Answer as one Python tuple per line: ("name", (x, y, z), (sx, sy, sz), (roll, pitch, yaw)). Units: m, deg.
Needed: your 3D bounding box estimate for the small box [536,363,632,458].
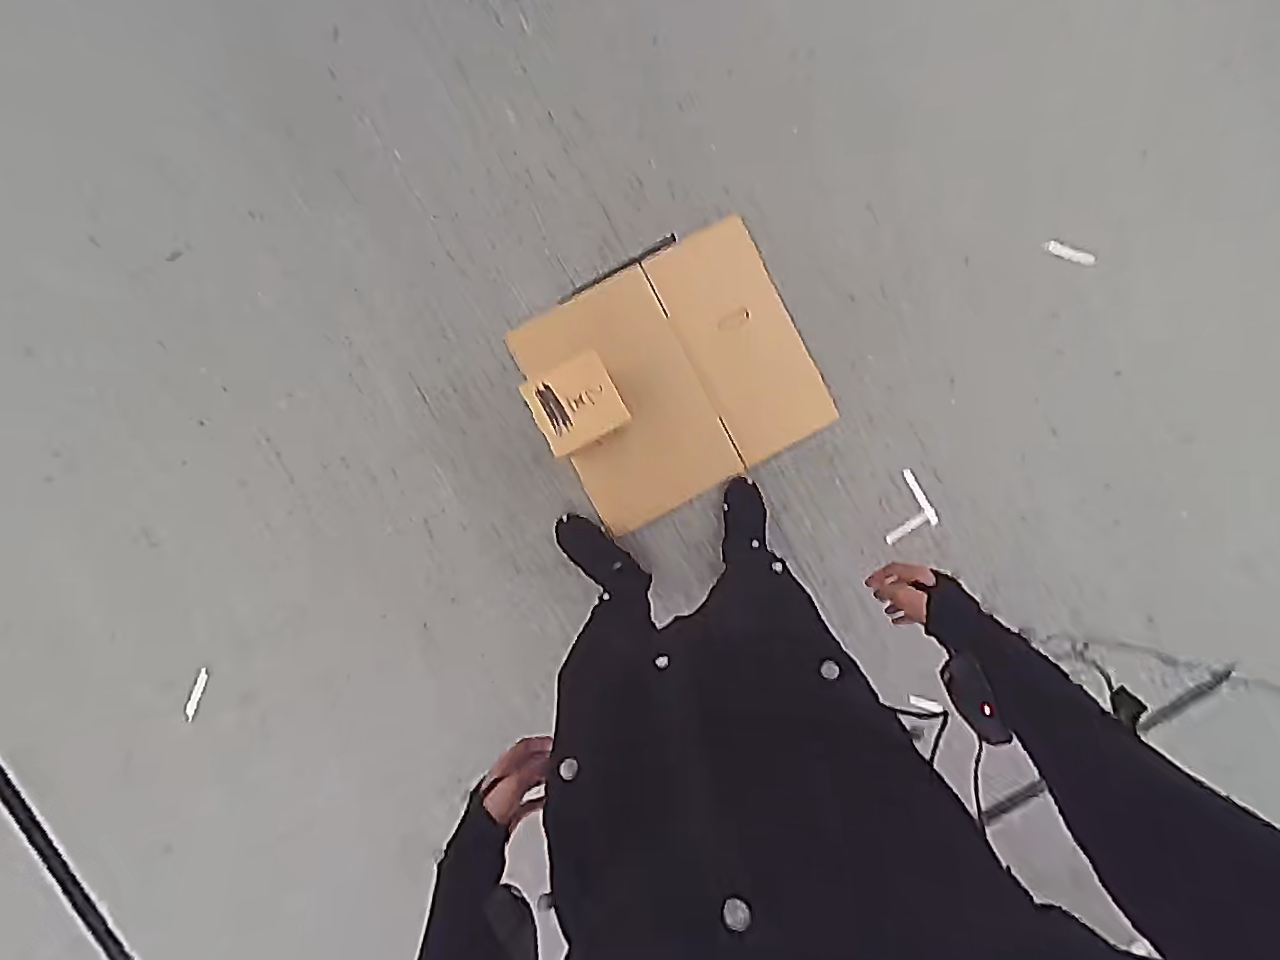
("small box", (-0.135, -0.167, 1.331), (0.179, 0.176, 0.168), (-29, 94, -1))
